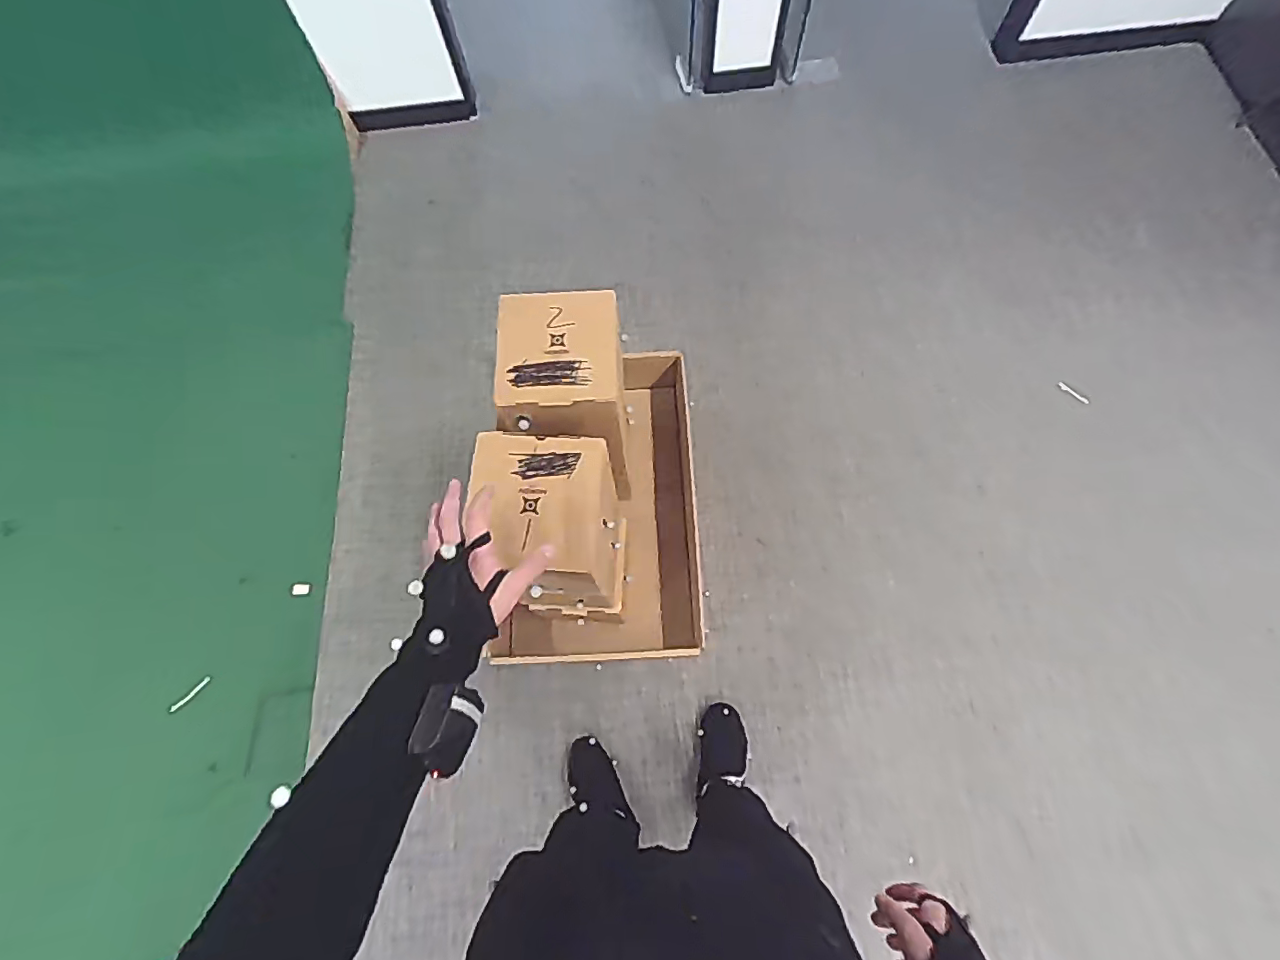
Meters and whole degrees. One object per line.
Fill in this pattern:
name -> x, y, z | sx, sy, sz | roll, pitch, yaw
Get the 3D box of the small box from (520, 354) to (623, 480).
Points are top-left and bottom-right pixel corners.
small box -> -0.117, -0.107, 0.978 | 0.168, 0.176, 0.179 | -3, 73, 0

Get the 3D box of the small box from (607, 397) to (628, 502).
small box -> -0.113, -0.058, 1.132 | 0.168, 0.176, 0.179 | -3, 72, 1

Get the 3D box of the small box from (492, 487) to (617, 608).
small box -> -0.130, 0.112, 0.896 | 0.168, 0.176, 0.179 | 3, 69, 2

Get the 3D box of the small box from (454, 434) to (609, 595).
small box -> -0.134, 0.054, 0.743 | 0.168, 0.176, 0.179 | 3, 70, 2
